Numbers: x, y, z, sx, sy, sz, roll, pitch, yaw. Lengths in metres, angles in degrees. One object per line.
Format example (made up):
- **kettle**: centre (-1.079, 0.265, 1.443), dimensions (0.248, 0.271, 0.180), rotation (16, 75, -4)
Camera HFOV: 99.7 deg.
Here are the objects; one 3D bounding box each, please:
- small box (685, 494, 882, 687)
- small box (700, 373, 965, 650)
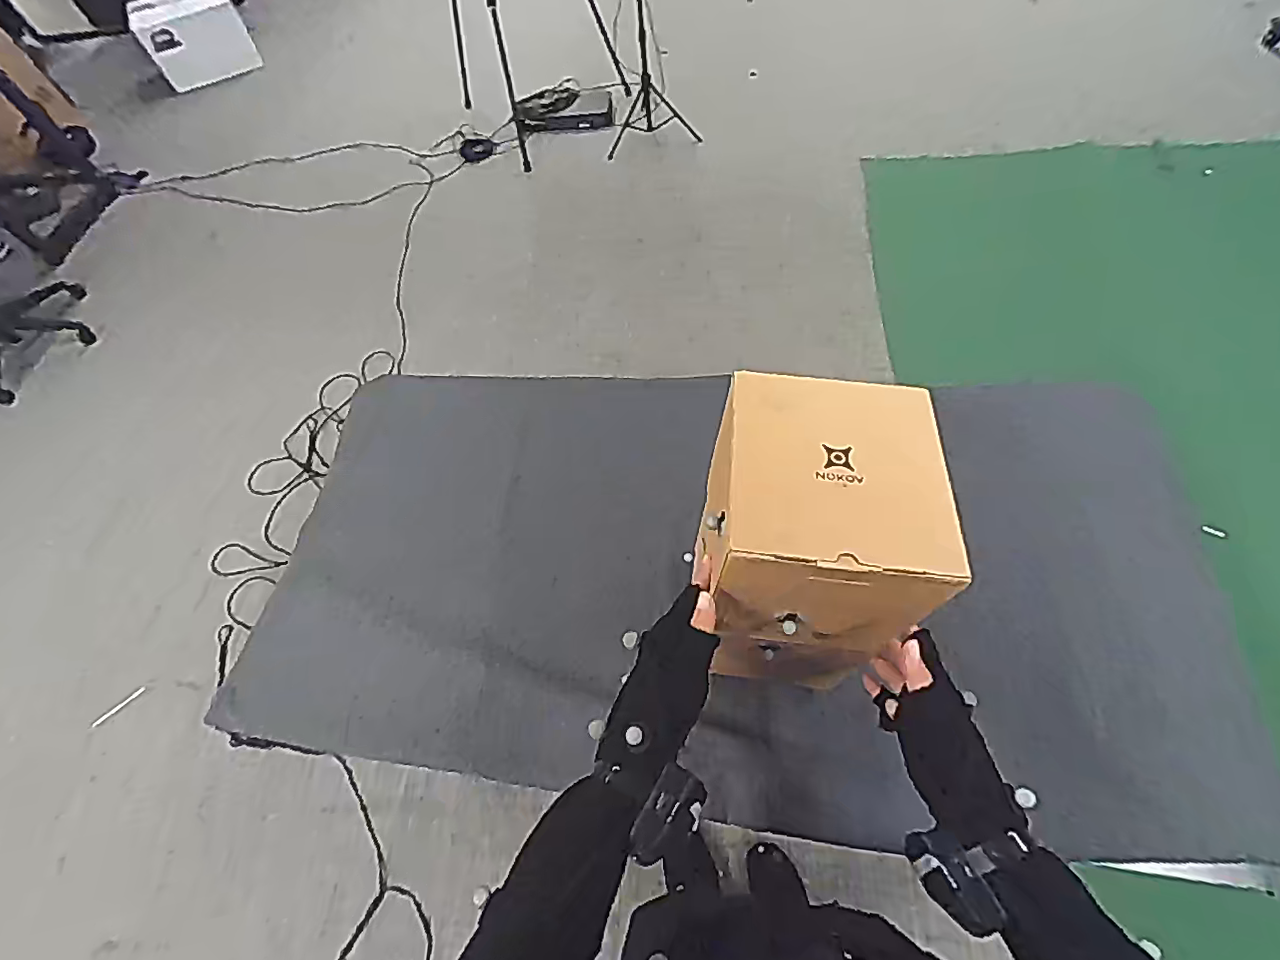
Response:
- **small box**: centre (0.148, 0.124, 0.614), dimensions (0.179, 0.176, 0.168), rotation (8, 57, 3)
- **small box**: centre (0.146, 0.033, 0.479), dimensions (0.168, 0.176, 0.179), rotation (6, 57, 3)
